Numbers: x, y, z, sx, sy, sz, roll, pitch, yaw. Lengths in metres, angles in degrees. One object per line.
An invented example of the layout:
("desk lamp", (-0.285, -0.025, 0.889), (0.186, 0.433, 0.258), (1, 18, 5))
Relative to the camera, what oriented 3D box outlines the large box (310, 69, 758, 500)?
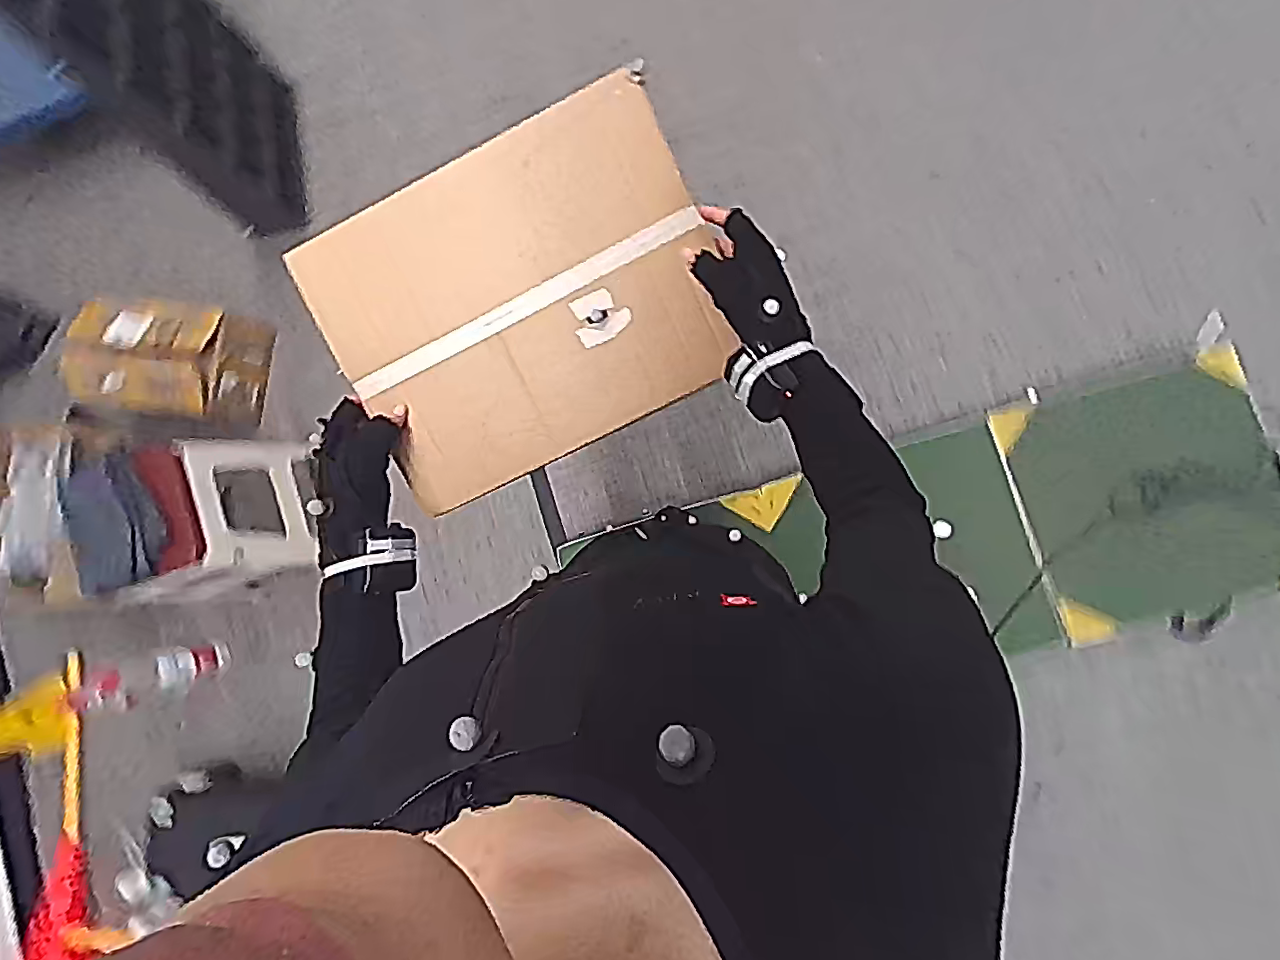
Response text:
("large box", (-0.111, -0.214, 0.723), (0.408, 0.320, 0.320), (-25, 97, 5))
